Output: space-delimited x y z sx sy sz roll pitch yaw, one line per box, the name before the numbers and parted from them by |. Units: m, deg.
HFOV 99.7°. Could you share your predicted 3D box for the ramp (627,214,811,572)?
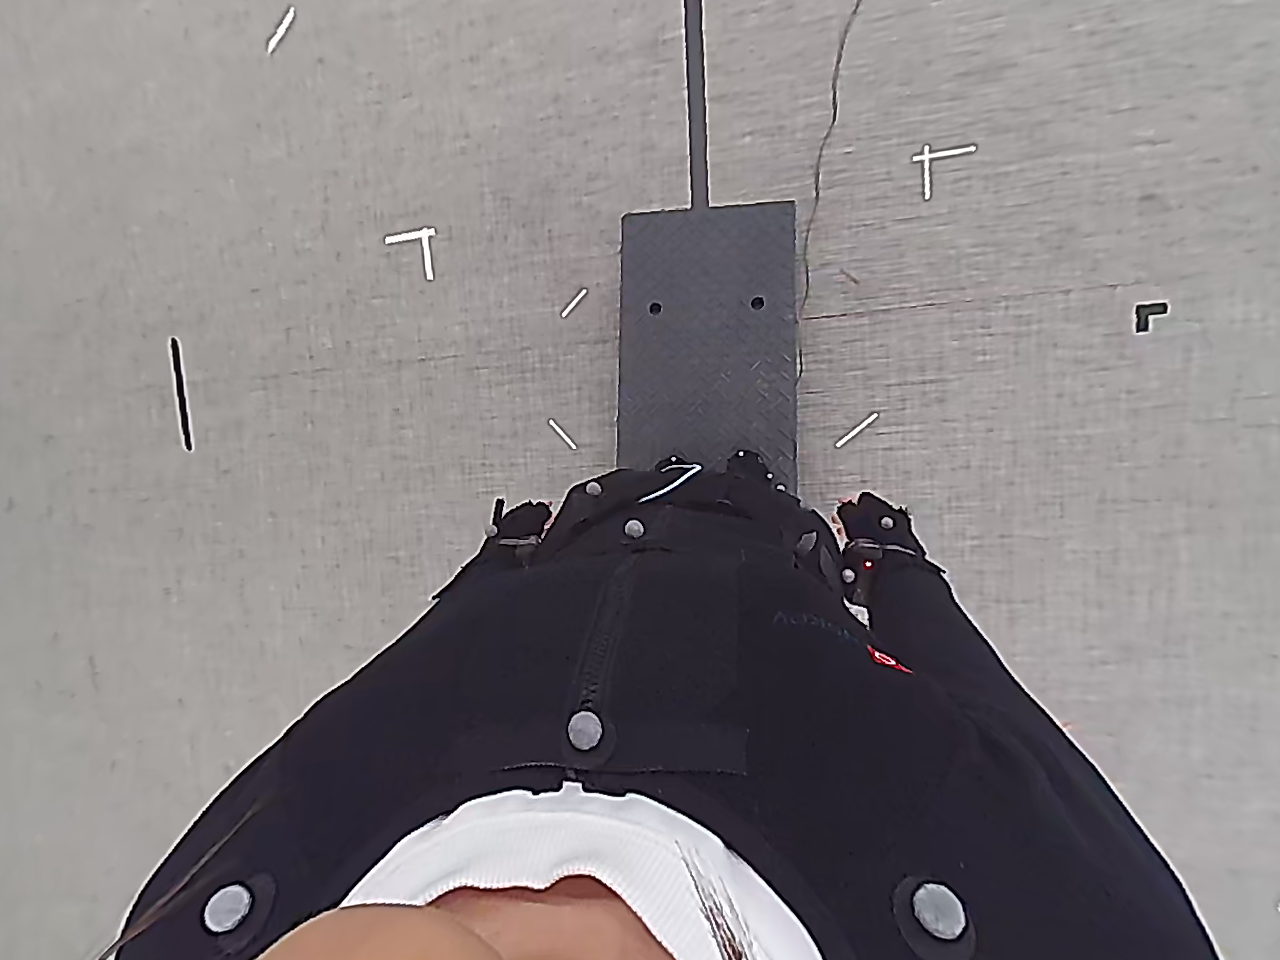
ramp | 0.203 -0.249 1.504 0.509 0.206 0.991 -3 92 12
